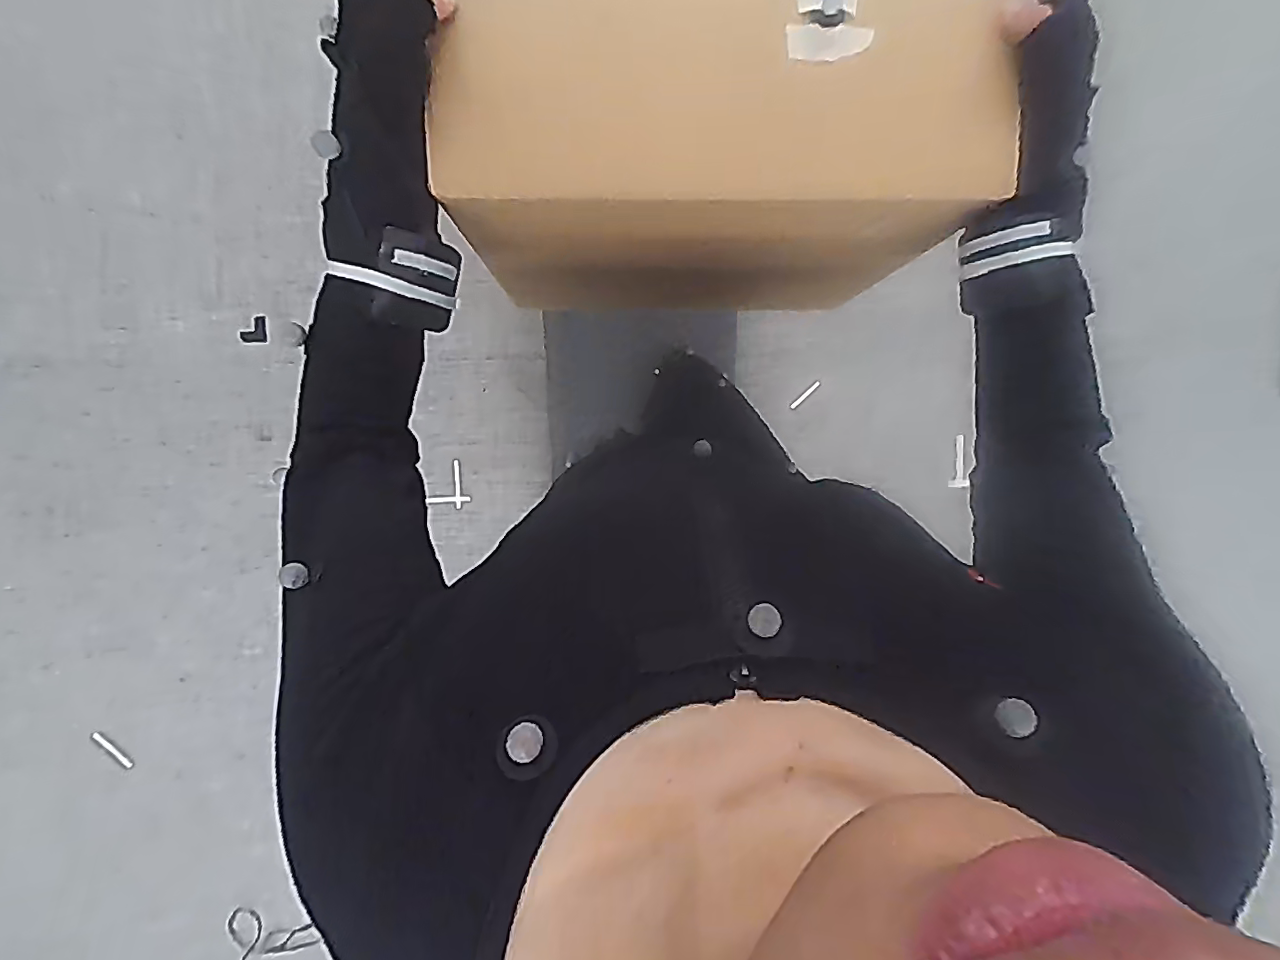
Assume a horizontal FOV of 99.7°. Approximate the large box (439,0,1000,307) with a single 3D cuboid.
[{"bbox_3d":[0.050,-0.368,0.527,0.408,0.320,0.320,-1,94,-3],"label":"large box"}]
